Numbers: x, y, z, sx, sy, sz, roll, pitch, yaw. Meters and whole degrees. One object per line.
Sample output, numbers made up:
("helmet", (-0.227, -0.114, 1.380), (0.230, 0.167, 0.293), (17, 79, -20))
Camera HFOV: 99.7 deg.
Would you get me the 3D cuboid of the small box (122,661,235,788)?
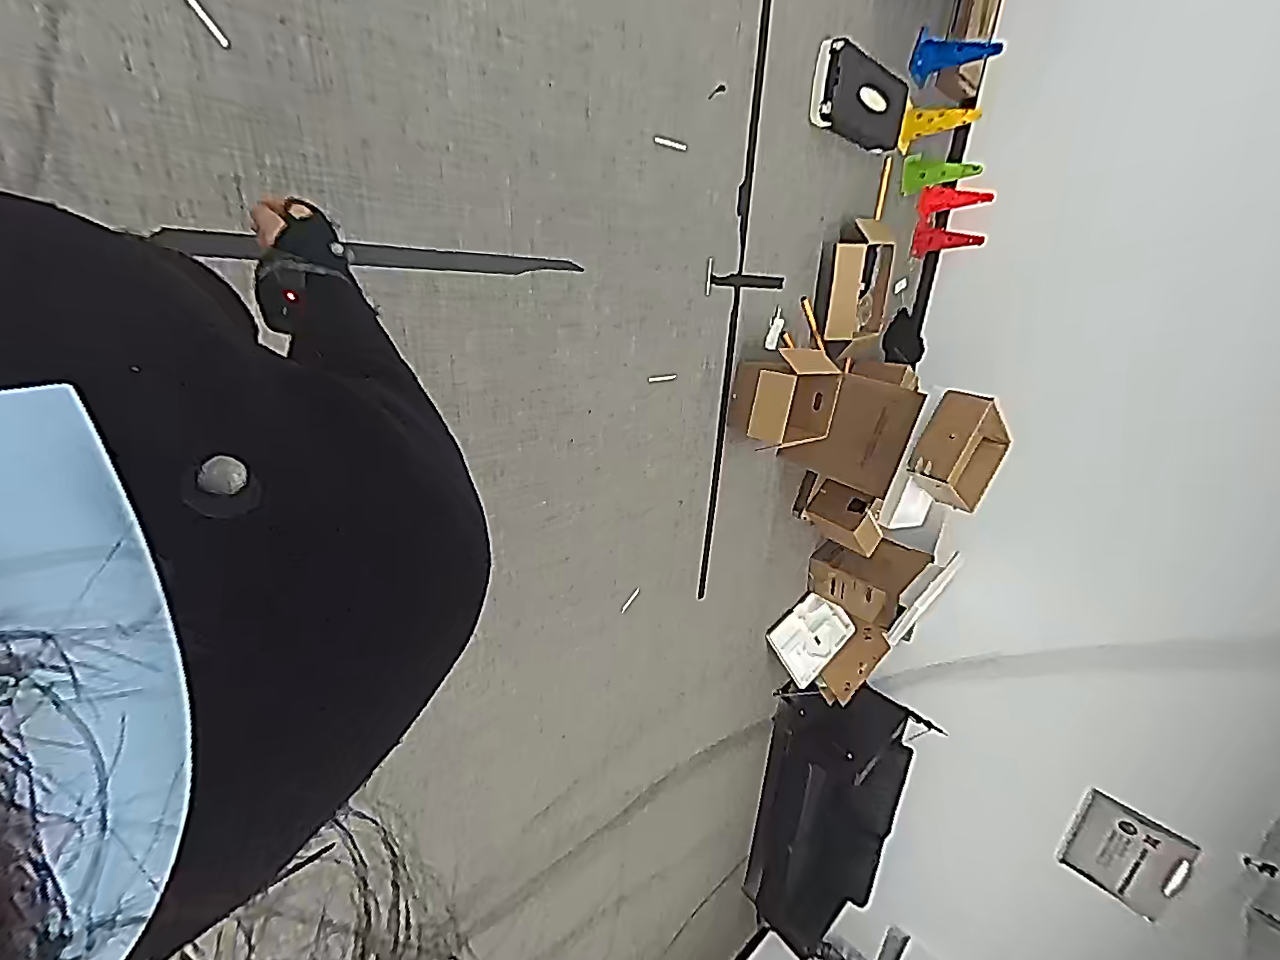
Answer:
("small box", (-1.091, 0.569, 1.280), (0.168, 0.176, 0.179), (-19, 120, -40))
